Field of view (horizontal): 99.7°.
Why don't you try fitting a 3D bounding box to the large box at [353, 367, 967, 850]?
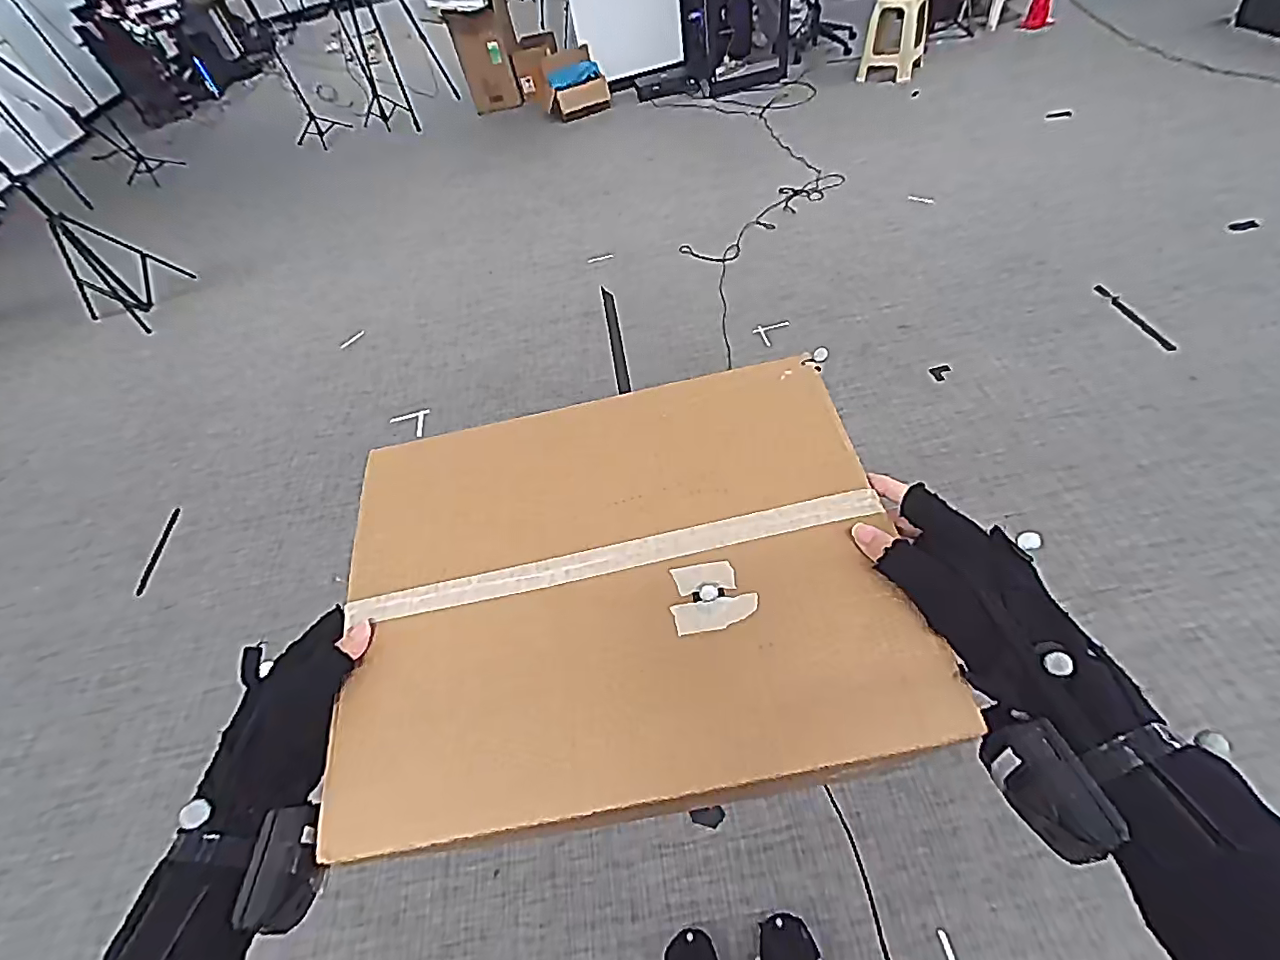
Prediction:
[{"bbox_3d":[0.004,0.142,0.541,0.408,0.320,0.320,-12,58,1],"label":"large box"}]
